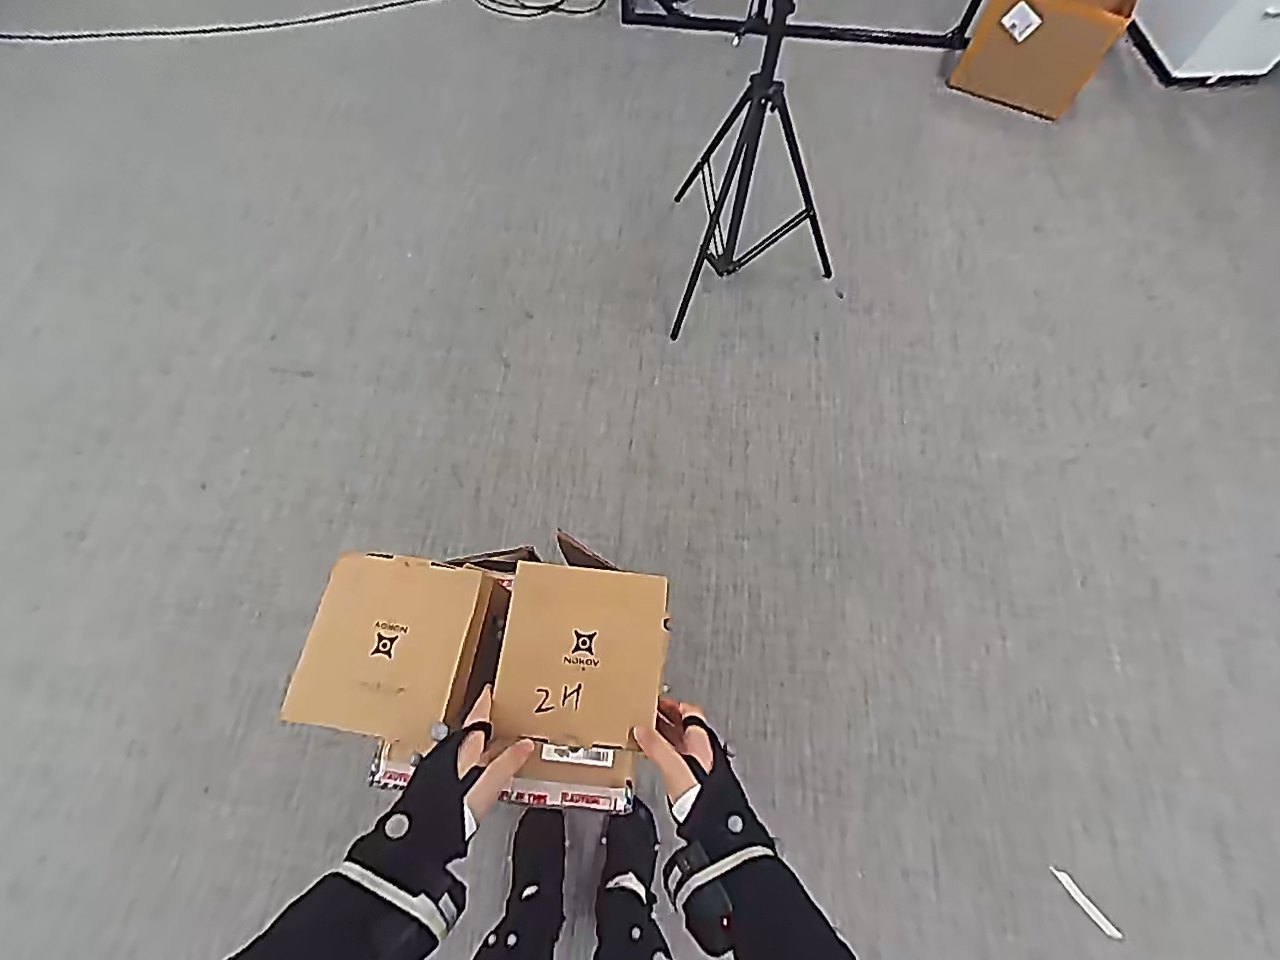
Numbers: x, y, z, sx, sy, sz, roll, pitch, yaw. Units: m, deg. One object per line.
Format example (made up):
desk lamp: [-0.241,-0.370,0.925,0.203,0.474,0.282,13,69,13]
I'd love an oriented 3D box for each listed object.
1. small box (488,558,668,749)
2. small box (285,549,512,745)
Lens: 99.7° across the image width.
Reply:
small box: [-0.063,0.202,0.629,0.168,0.176,0.179,6,68,0]
small box: [-0.256,0.194,0.630,0.168,0.176,0.179,7,69,6]
